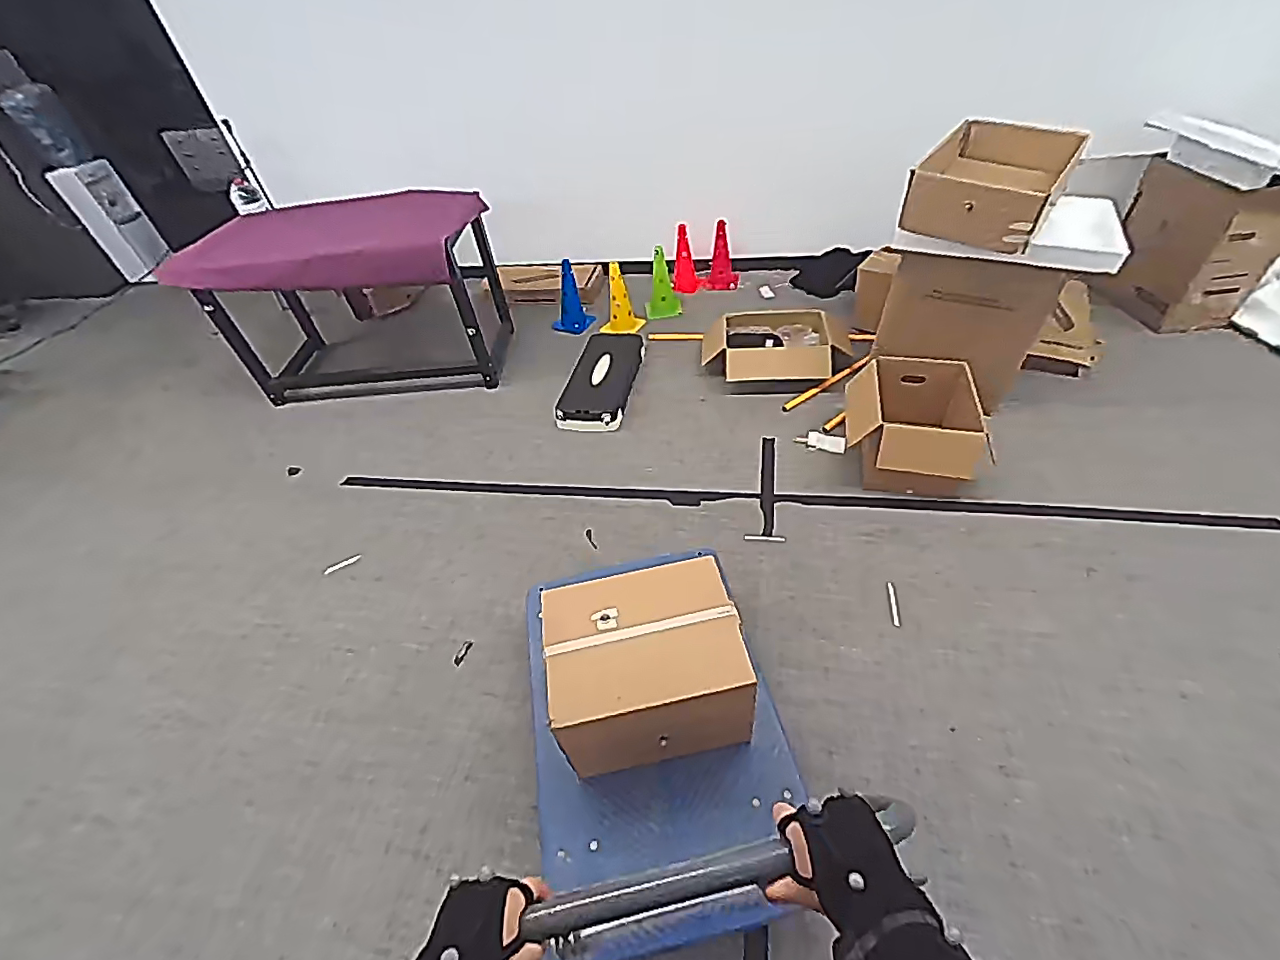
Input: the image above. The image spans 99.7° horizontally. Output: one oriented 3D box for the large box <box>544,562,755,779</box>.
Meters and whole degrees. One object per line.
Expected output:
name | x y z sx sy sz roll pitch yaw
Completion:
large box | 0.022 0.440 1.248 0.408 0.320 0.320 -13 44 -3
